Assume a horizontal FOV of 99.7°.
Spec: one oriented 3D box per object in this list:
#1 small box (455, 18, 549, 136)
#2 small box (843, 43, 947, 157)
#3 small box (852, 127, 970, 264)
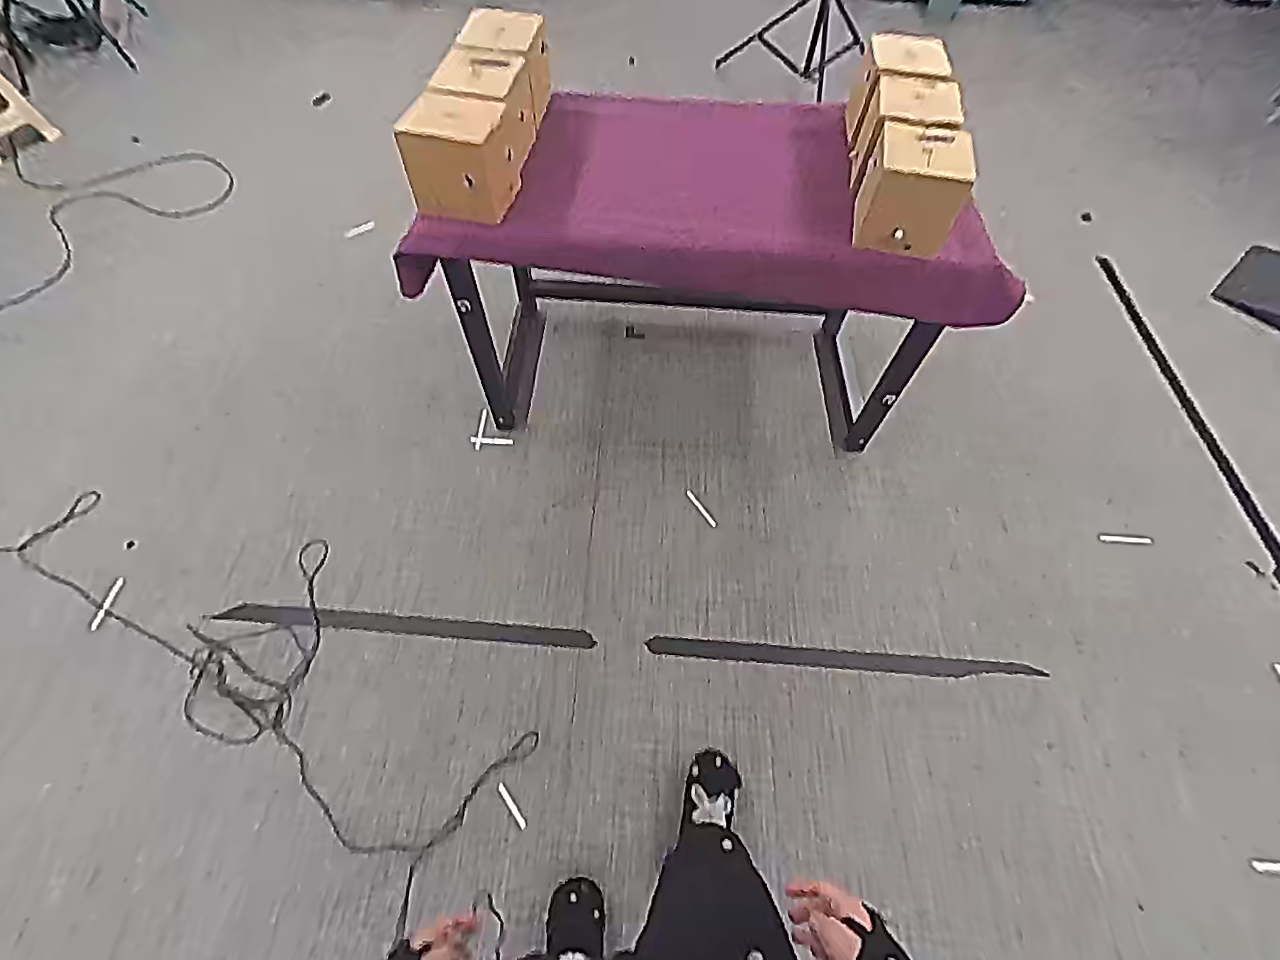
[{"bbox_3d":[-0.320,-0.964,1.297,0.168,0.176,0.179,7,60,2],"label":"small box"},{"bbox_3d":[0.597,-0.901,1.293,0.168,0.176,0.179,7,59,2],"label":"small box"},{"bbox_3d":[0.542,-0.573,1.096,0.168,0.176,0.179,13,63,9],"label":"small box"}]
